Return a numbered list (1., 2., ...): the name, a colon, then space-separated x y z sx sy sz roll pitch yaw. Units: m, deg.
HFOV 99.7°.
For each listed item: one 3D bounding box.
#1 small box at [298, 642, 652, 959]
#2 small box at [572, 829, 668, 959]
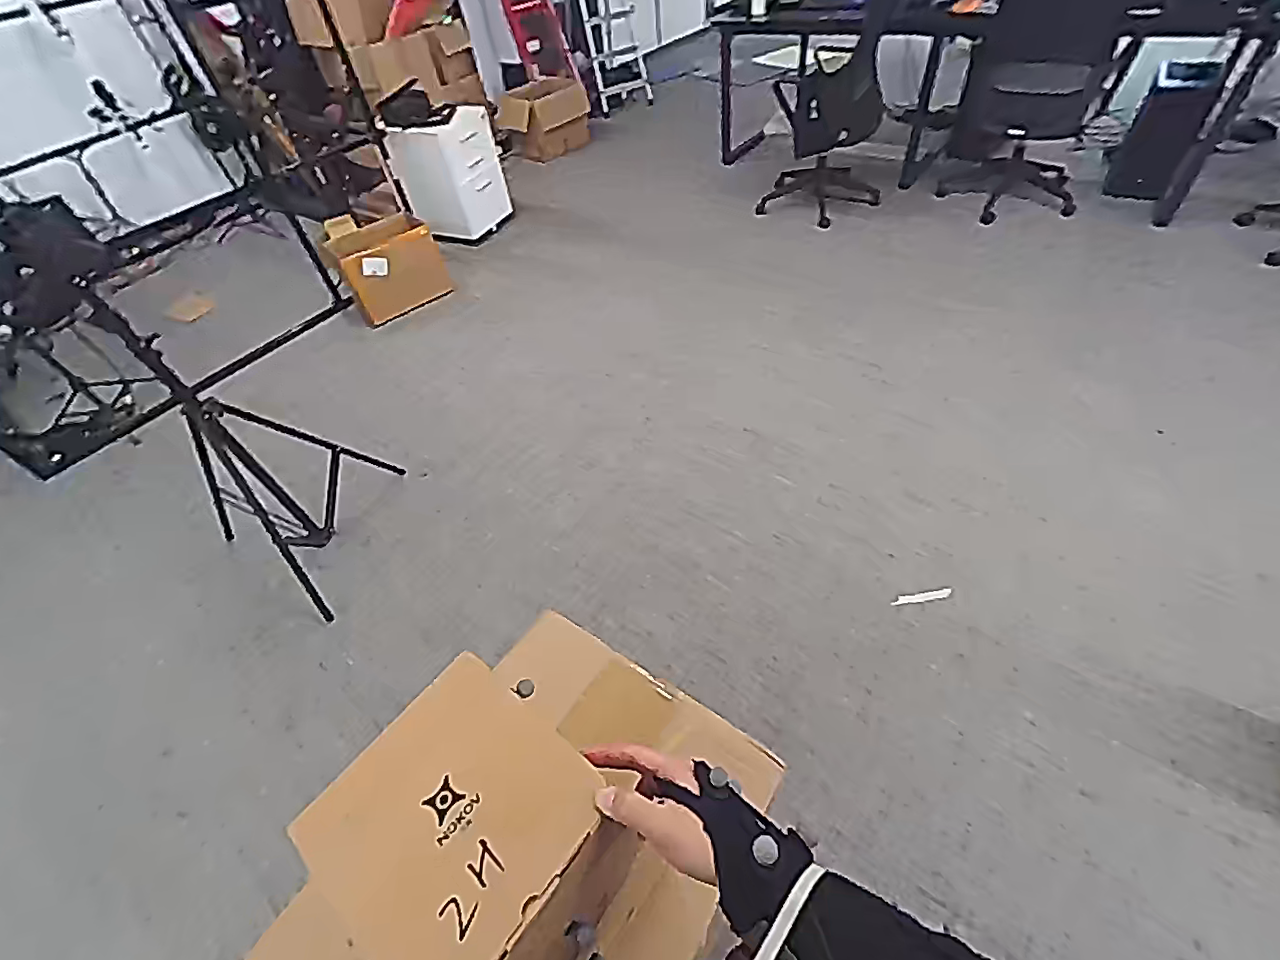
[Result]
1. small box: -0.112 0.271 0.425 0.179 0.176 0.168 28 59 31
2. small box: -0.088 0.385 0.543 0.179 0.176 0.168 26 57 29
